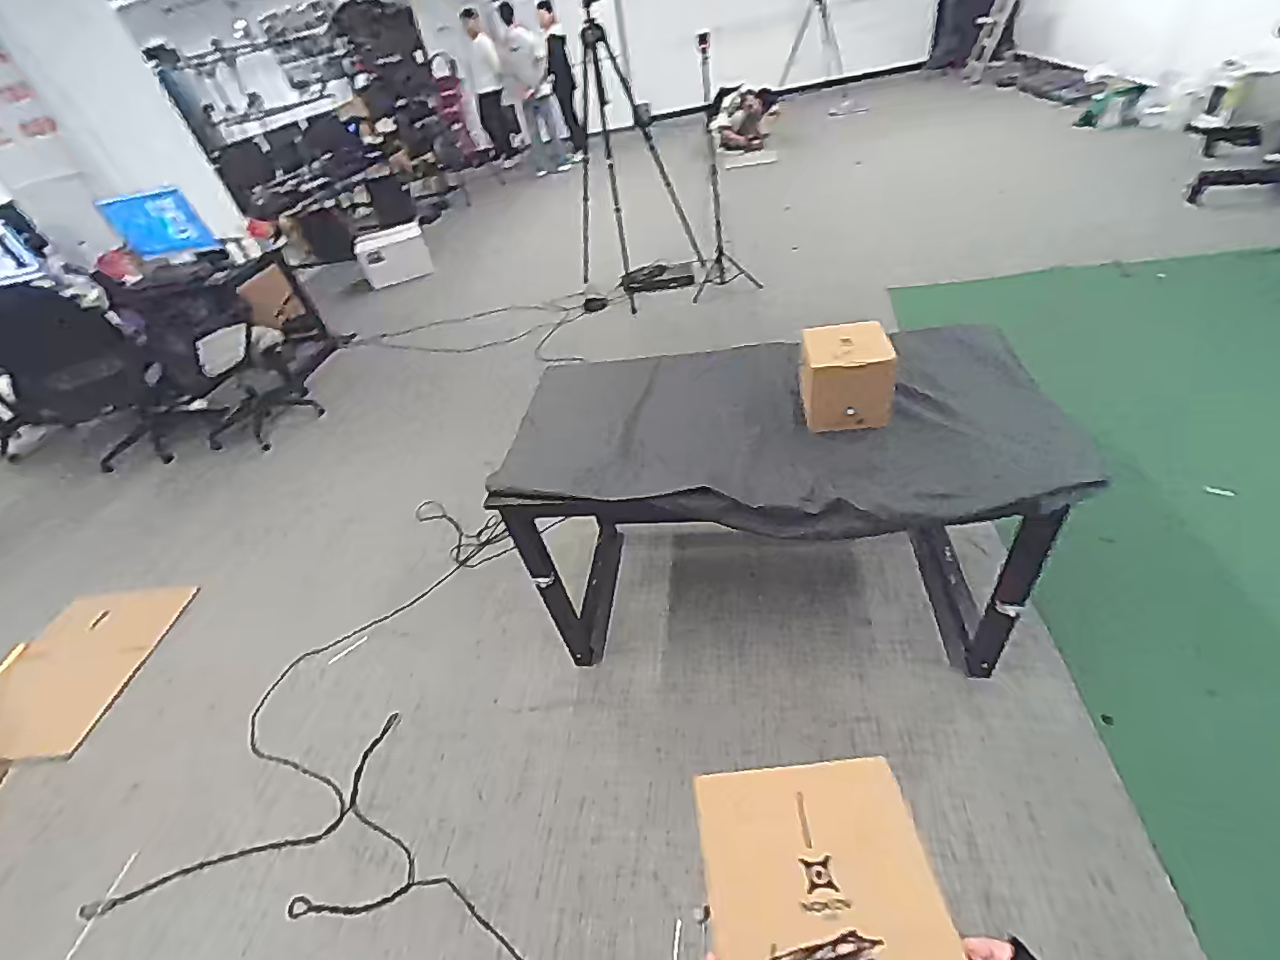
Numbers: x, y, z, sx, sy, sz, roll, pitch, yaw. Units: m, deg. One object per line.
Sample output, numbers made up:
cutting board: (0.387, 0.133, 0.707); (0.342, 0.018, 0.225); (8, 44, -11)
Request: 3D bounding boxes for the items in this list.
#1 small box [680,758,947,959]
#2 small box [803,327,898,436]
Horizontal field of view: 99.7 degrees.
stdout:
small box: (0.130, 0.361, 0.441); (0.168, 0.176, 0.179); (-8, 37, 1)
small box: (0.454, -0.216, 1.195); (0.168, 0.176, 0.179); (-4, 41, 12)
